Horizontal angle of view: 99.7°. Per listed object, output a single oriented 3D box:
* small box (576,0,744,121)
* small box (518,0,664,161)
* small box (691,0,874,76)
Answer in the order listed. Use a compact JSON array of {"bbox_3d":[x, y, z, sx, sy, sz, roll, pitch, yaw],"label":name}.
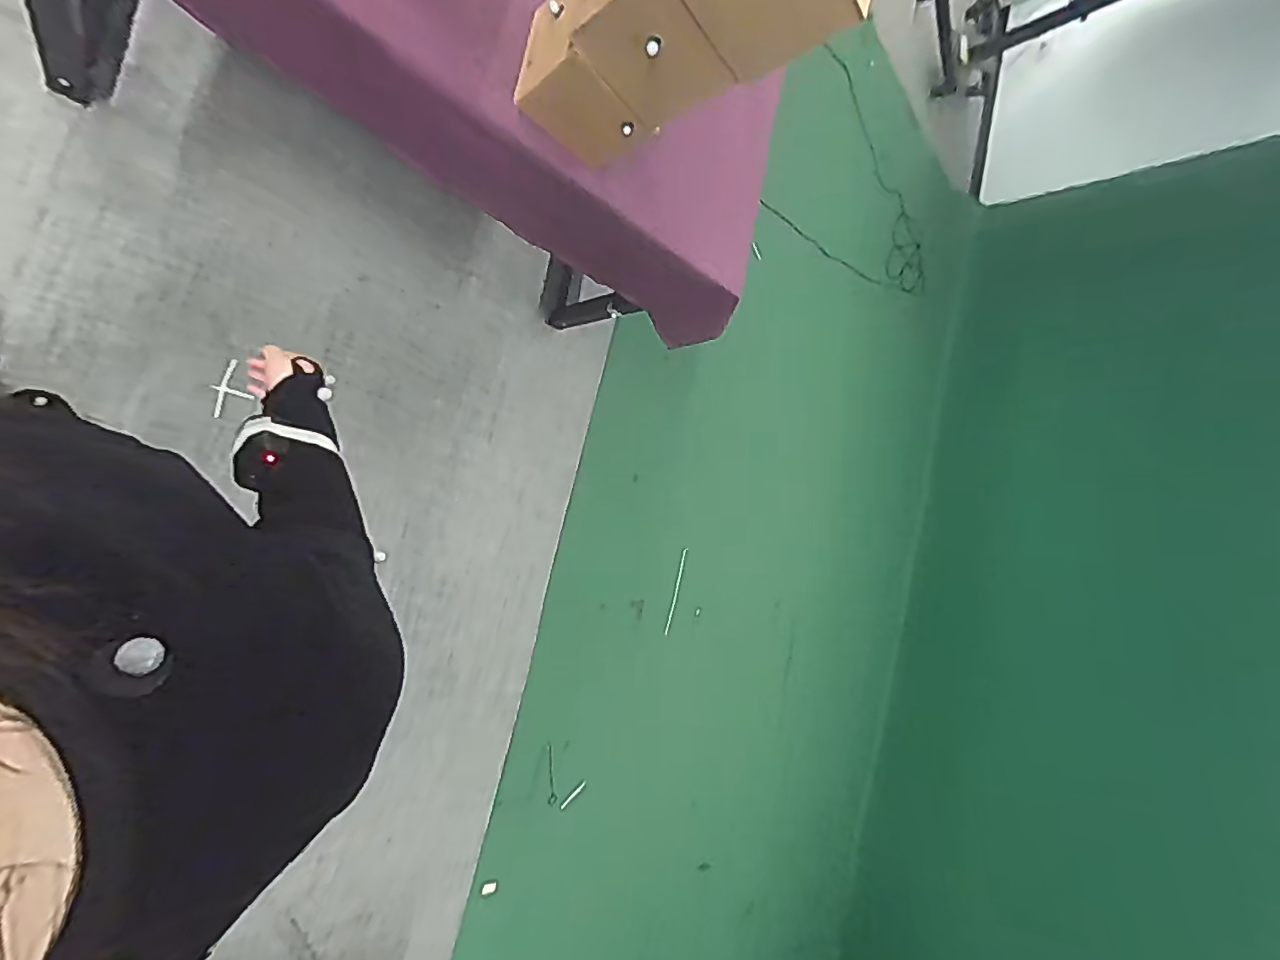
[{"bbox_3d":[0.040,-0.633,0.725,0.179,0.176,0.168,22,80,-42],"label":"small box"},{"bbox_3d":[-0.067,-0.644,0.849,0.179,0.176,0.168,17,83,-43],"label":"small box"},{"bbox_3d":[0.159,-0.618,0.611,0.179,0.176,0.168,23,79,-44],"label":"small box"}]
